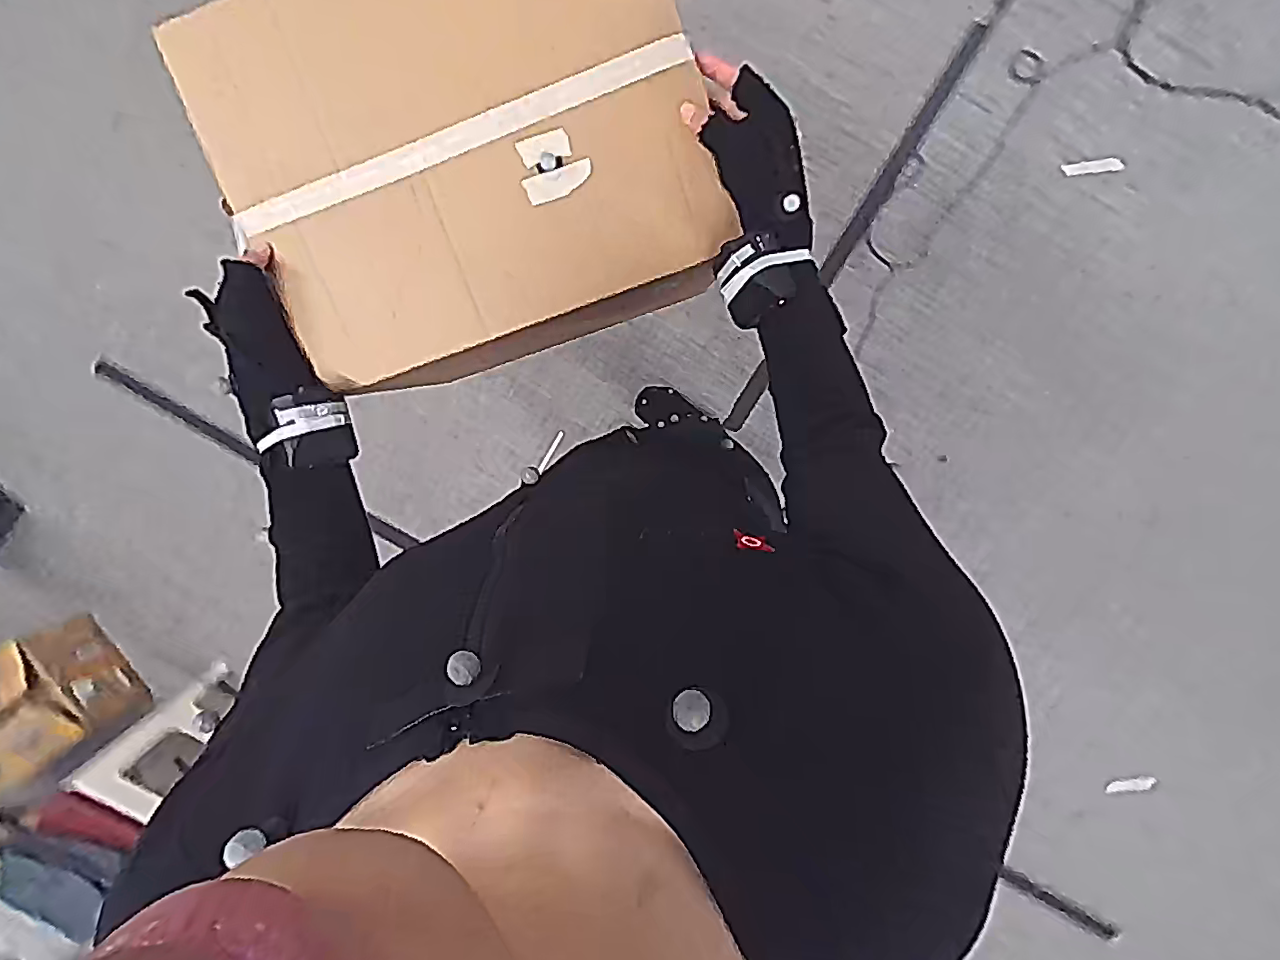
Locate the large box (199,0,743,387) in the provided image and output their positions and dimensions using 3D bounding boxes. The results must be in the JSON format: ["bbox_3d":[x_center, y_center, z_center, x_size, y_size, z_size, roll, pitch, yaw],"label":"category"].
[{"bbox_3d":[-0.141,-0.320,0.614,0.408,0.320,0.320,-18,102,4],"label":"large box"}]
